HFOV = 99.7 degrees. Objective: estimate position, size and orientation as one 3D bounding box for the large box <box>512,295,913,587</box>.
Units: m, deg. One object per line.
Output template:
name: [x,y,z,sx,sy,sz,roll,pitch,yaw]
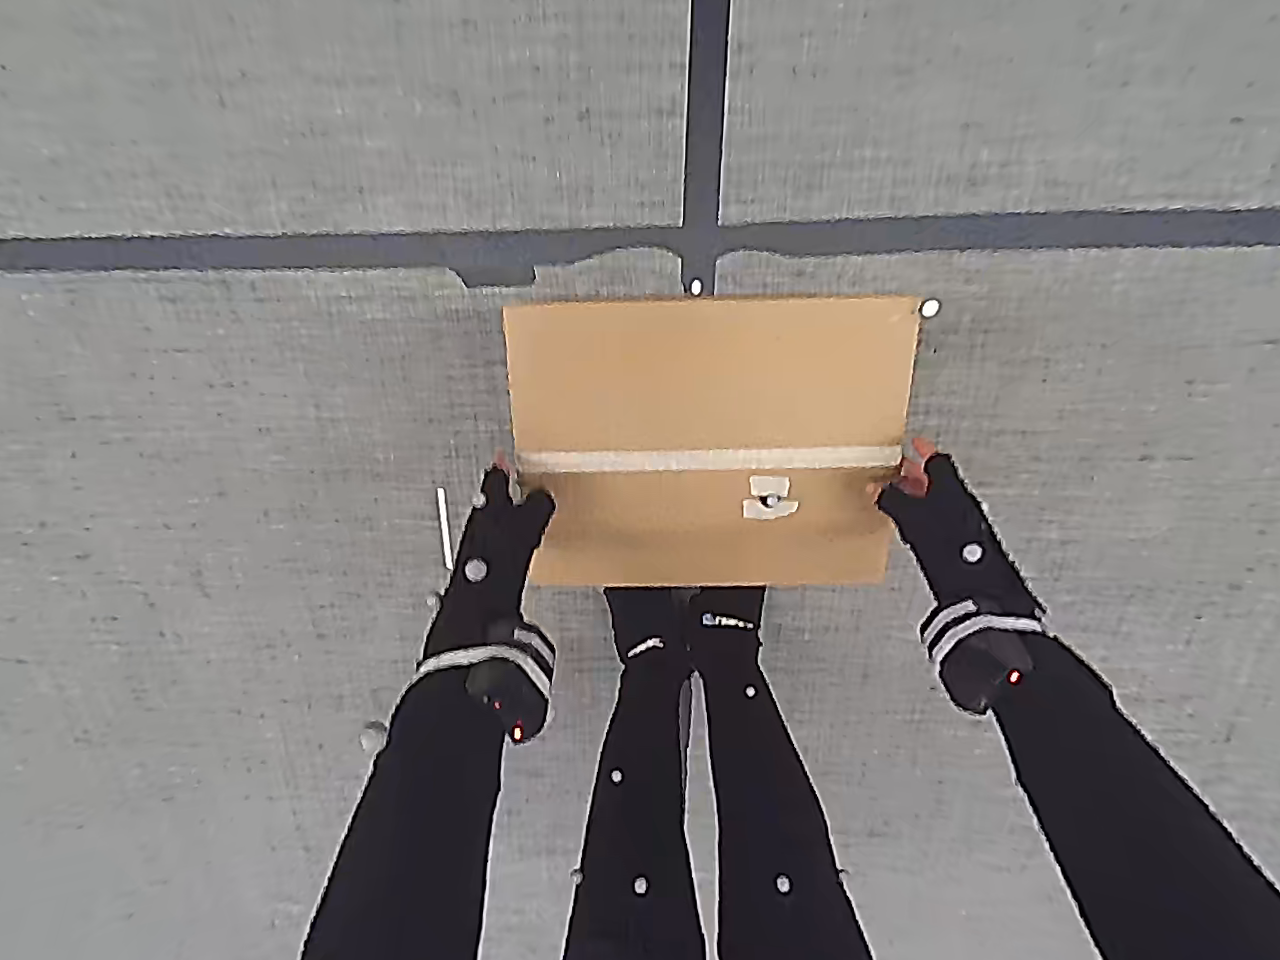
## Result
large box: [0.075,-0.074,0.720,0.408,0.320,0.320,-1,110,1]
